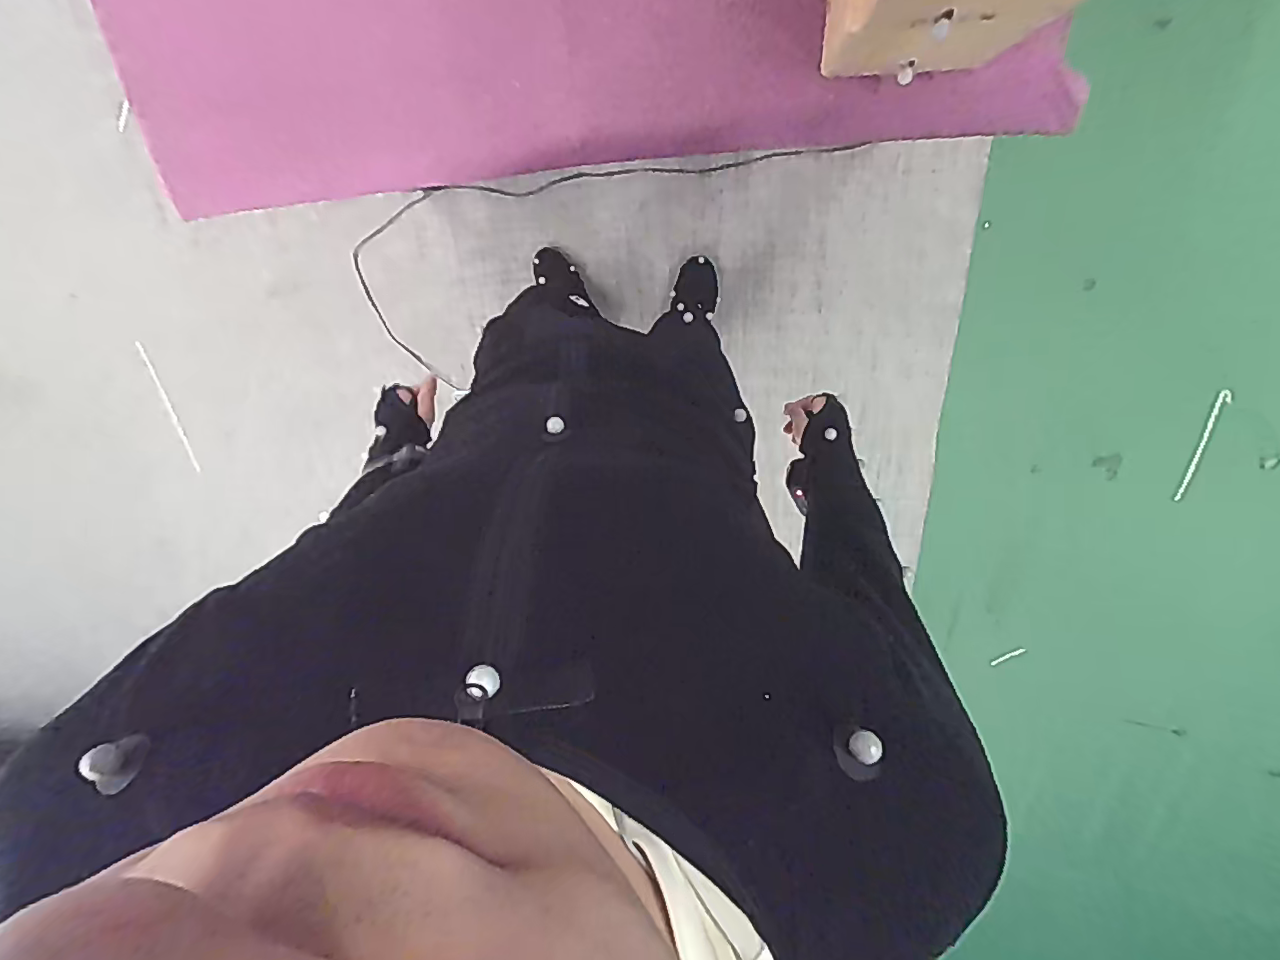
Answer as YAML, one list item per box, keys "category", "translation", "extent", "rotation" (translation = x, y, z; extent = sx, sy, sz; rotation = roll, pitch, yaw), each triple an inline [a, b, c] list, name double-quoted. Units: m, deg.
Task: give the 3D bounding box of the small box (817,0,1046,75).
- category: "small box"
  translation: [0.283, -0.513, 0.523]
  extent: [0.179, 0.176, 0.168]
  rotation: [3, 115, 8]

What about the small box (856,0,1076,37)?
- category: "small box"
  translation: [0.259, -0.446, 0.375]
  extent: [0.168, 0.176, 0.179]
  rotation: [4, 116, 10]
